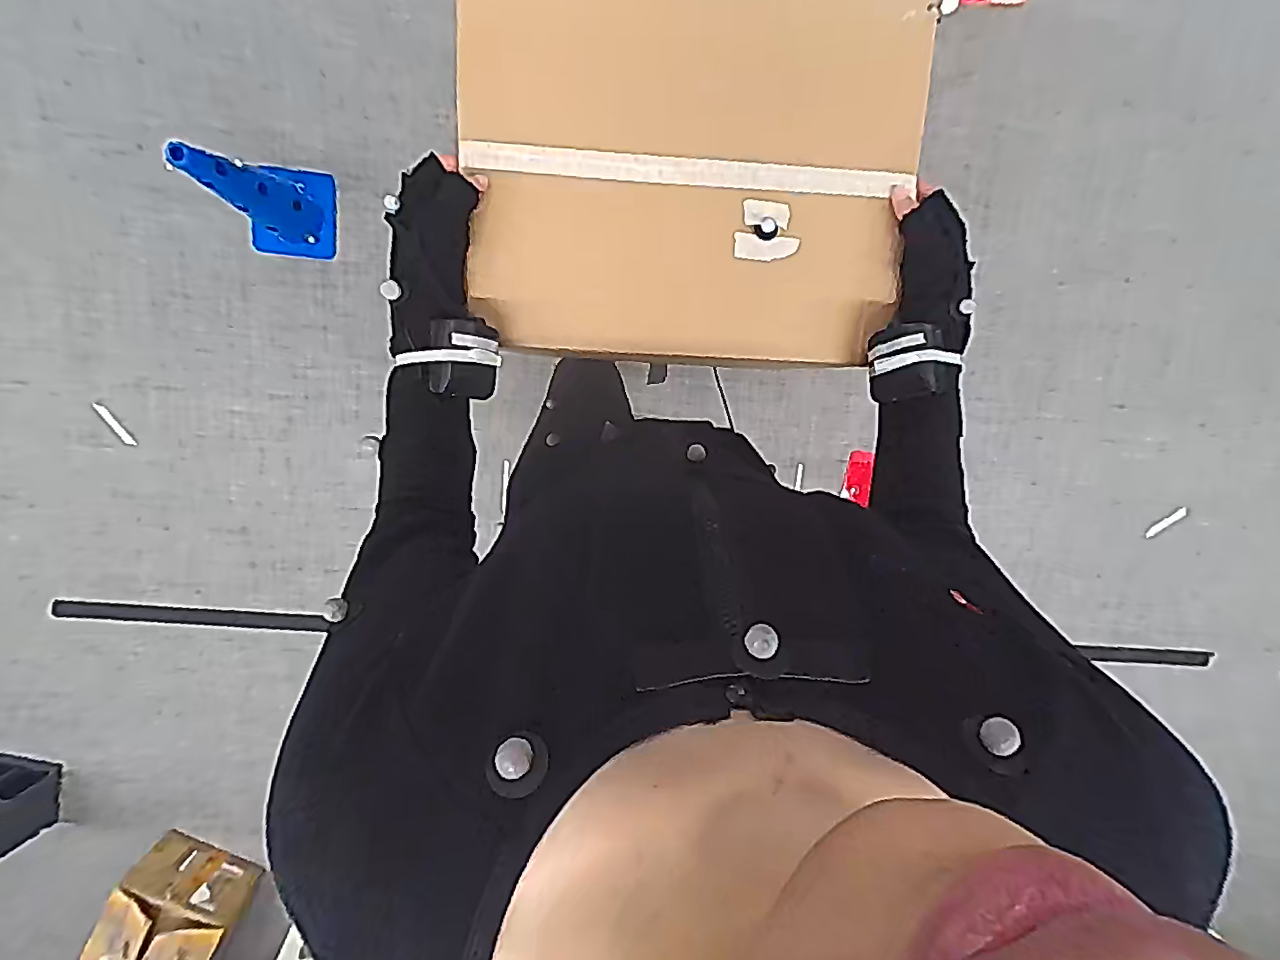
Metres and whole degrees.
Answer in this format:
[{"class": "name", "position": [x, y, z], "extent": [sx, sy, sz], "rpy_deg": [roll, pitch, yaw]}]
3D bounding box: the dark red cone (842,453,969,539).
[{"class": "dark red cone", "position": [0.664, 0.066, 1.309], "extent": [0.201, 0.394, 0.202], "rpy_deg": [10, 100, -3]}]

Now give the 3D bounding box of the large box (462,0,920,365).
[{"class": "large box", "position": [0.032, -0.301, 0.630], "extent": [0.408, 0.320, 0.320], "rpy_deg": [2, 101, -5]}]

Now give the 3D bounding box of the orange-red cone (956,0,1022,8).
[{"class": "orange-red cone", "position": [0.834, -1.207, 1.107], "extent": [0.198, 0.360, 0.199], "rpy_deg": [1, 99, -3]}]

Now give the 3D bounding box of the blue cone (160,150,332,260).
[{"class": "blue cone", "position": [-0.854, -0.617, 1.171], "extent": [0.192, 0.380, 0.193], "rpy_deg": [7, 100, -2]}]
